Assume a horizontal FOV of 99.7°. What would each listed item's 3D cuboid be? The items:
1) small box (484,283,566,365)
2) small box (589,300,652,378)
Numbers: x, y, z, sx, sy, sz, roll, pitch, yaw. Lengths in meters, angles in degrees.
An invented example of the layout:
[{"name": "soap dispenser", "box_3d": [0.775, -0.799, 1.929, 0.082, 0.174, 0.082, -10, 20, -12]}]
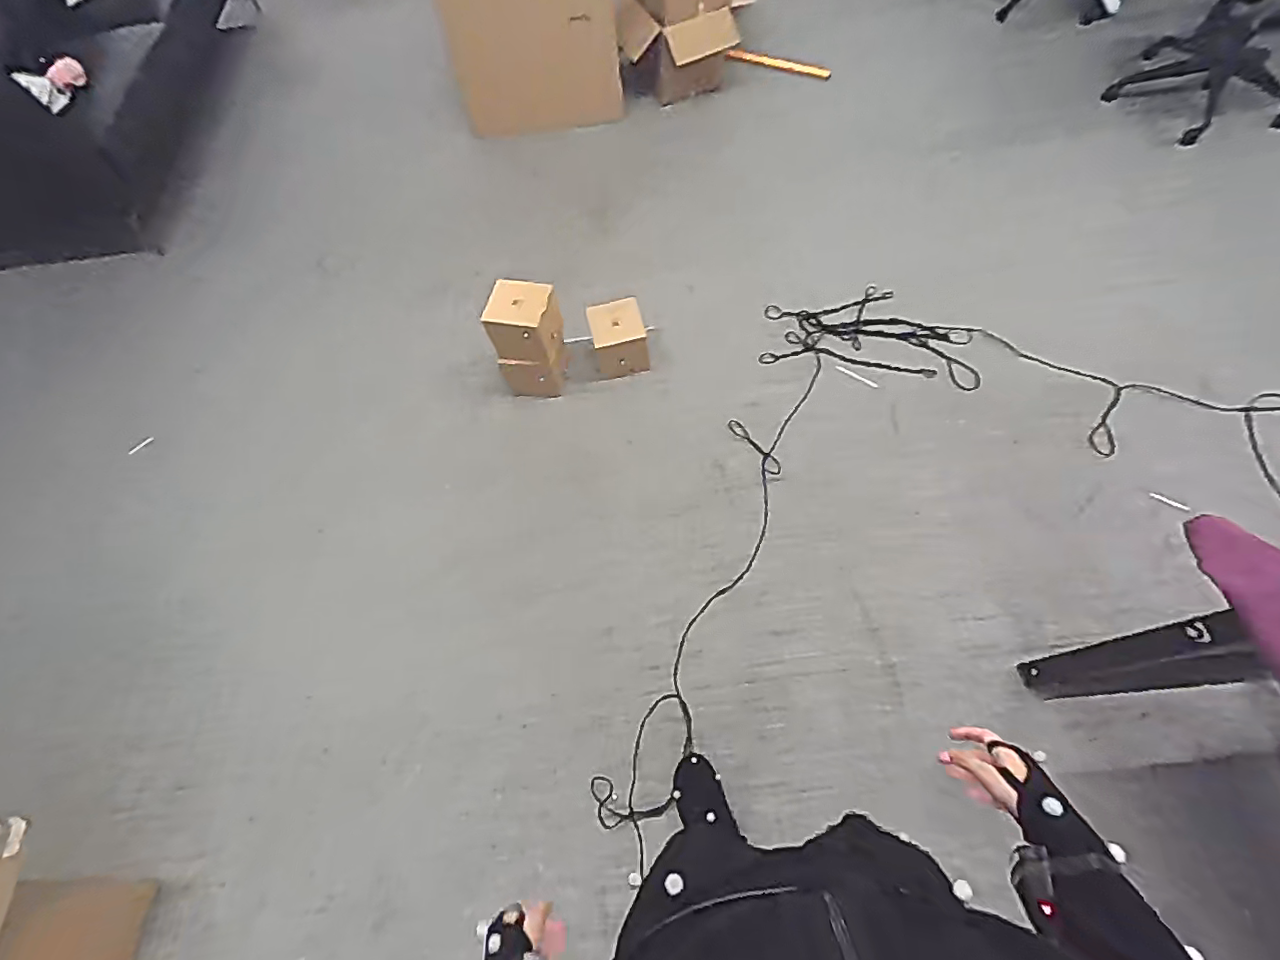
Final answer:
[{"name": "small box", "box_3d": [-0.339, -0.468, 1.633, 0.179, 0.176, 0.168, 9, 64, 9]}, {"name": "small box", "box_3d": [-0.061, -0.455, 1.777, 0.168, 0.176, 0.179, -13, 62, -1]}]
